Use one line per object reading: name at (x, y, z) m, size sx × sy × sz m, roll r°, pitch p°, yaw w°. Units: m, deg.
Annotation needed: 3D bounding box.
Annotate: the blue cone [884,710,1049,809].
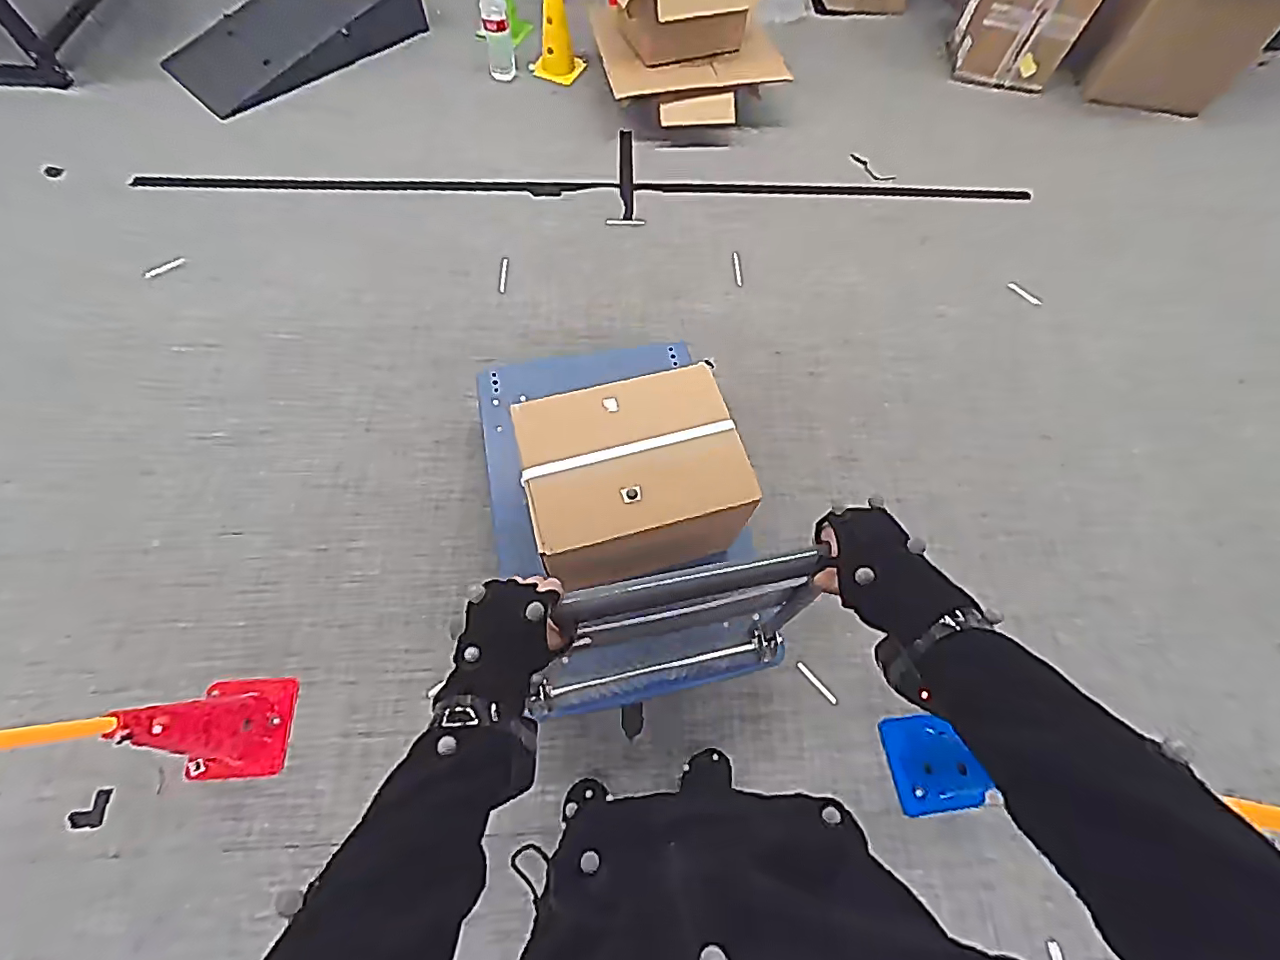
blue cone at (0.678, 0.563, 1.088) m, size 0.193 × 0.380 × 0.192 m, roll -4°, pitch 64°, yaw -5°
